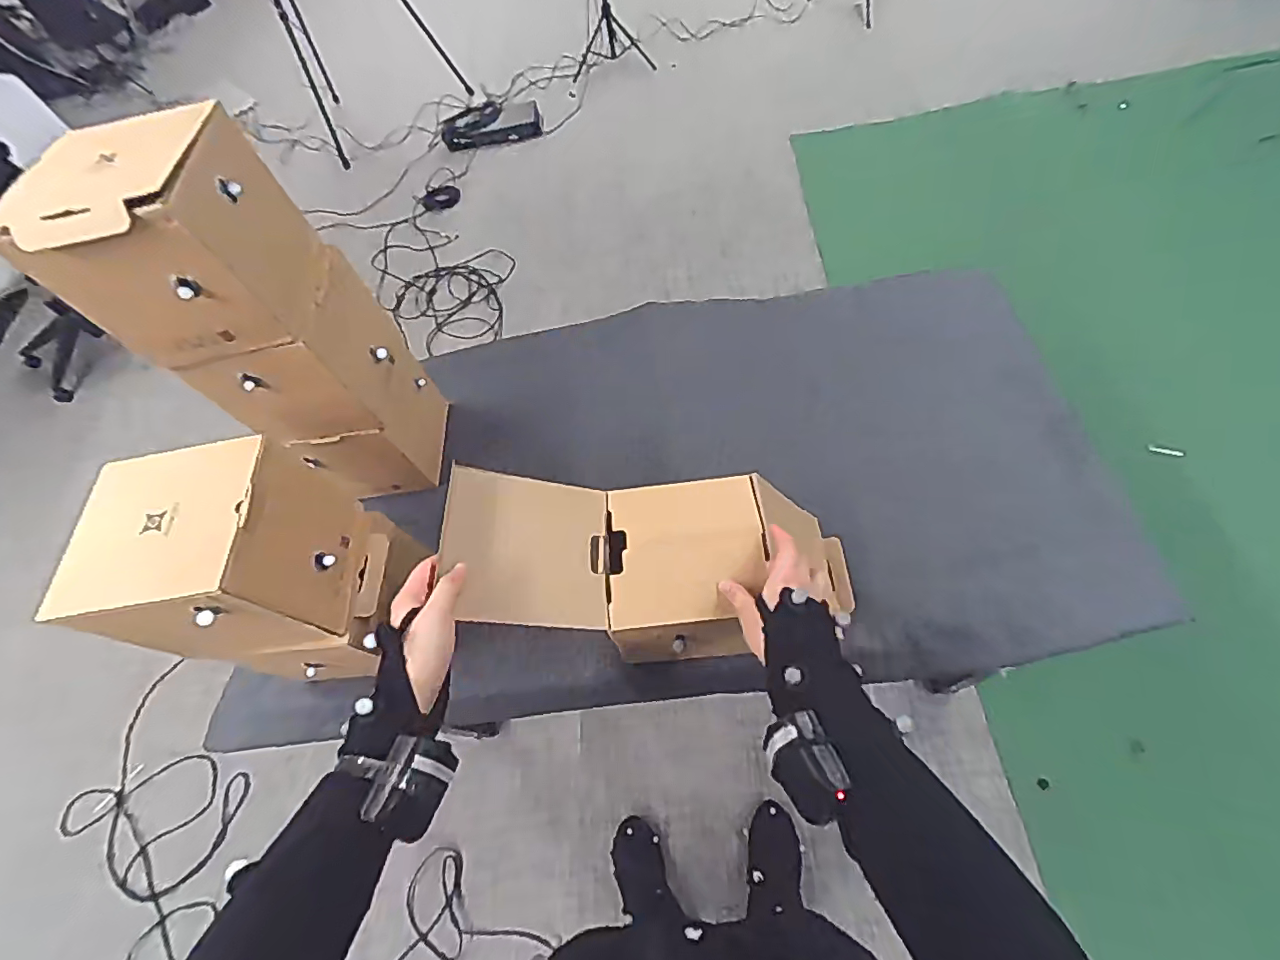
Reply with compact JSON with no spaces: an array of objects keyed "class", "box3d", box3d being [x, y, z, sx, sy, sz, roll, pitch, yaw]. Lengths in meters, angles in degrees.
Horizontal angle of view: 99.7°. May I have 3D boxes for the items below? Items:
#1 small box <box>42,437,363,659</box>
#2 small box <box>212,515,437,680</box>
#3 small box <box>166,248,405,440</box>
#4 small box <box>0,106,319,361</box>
[{"class":"small box","box3d":[-0.430,0.081,0.569,0.179,0.176,0.168,-10,60,4]},{"class":"small box","box3d":[-0.390,0.160,0.706,0.179,0.176,0.168,-7,60,7]},{"class":"small box","box3d":[-0.442,-0.167,0.707,0.179,0.176,0.168,-7,61,5]},{"class":"small box","box3d":[-0.473,-0.244,0.567,0.168,0.176,0.179,-10,59,3]}]
